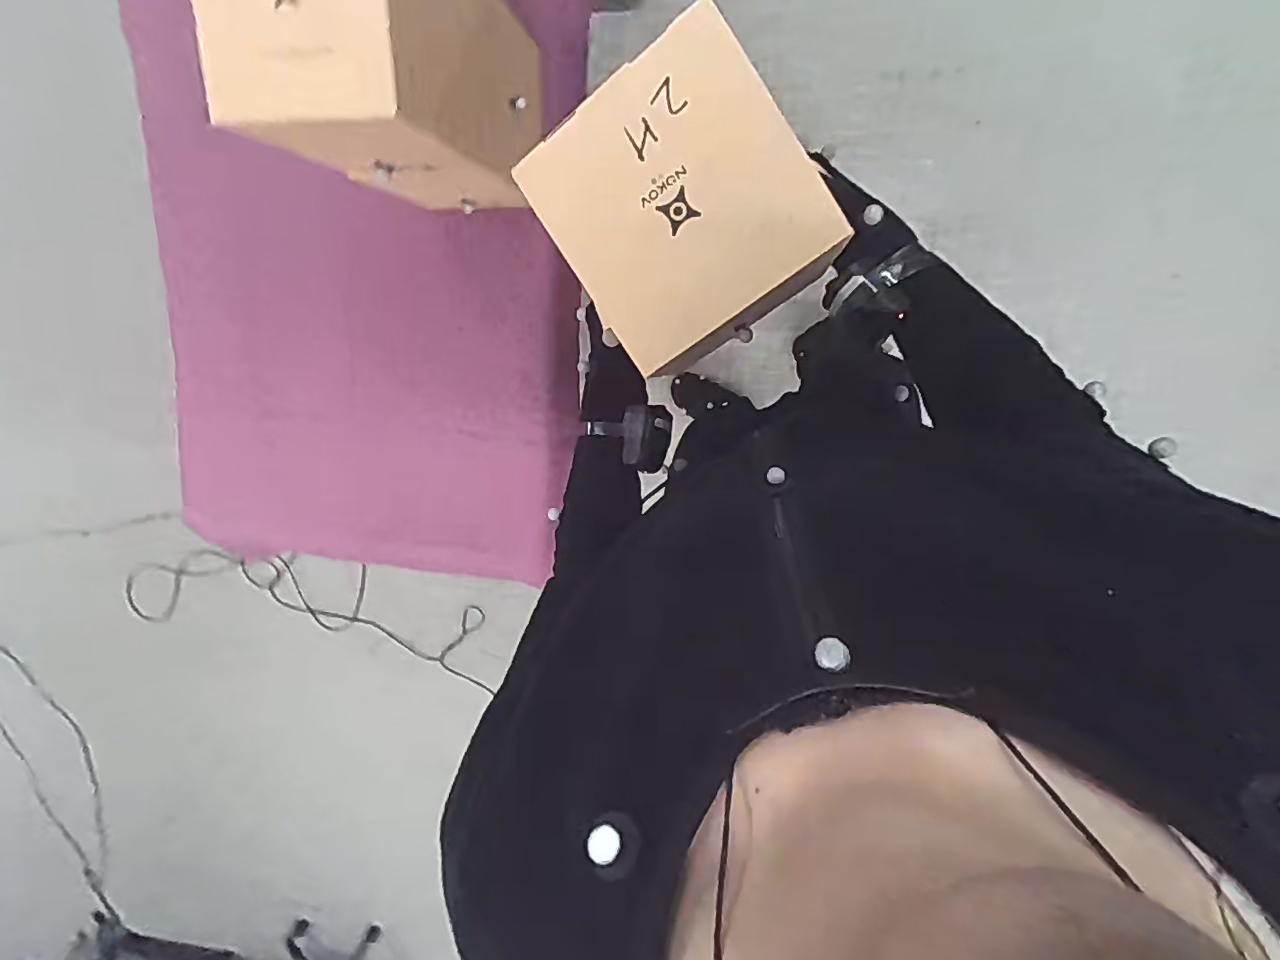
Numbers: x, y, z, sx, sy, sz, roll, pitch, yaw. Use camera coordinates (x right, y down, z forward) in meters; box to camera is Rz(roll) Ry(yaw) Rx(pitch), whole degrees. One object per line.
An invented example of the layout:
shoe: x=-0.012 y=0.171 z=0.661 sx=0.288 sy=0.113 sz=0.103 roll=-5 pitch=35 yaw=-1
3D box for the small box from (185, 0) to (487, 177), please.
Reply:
small box: x=-0.245 y=-0.383 z=0.467 sx=0.168 sy=0.176 sz=0.179 roll=6 pitch=106 yaw=11

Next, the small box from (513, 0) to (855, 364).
small box: x=0.041 y=-0.209 z=0.426 sx=0.168 sy=0.176 sz=0.179 roll=-32 pitch=92 yaw=16
